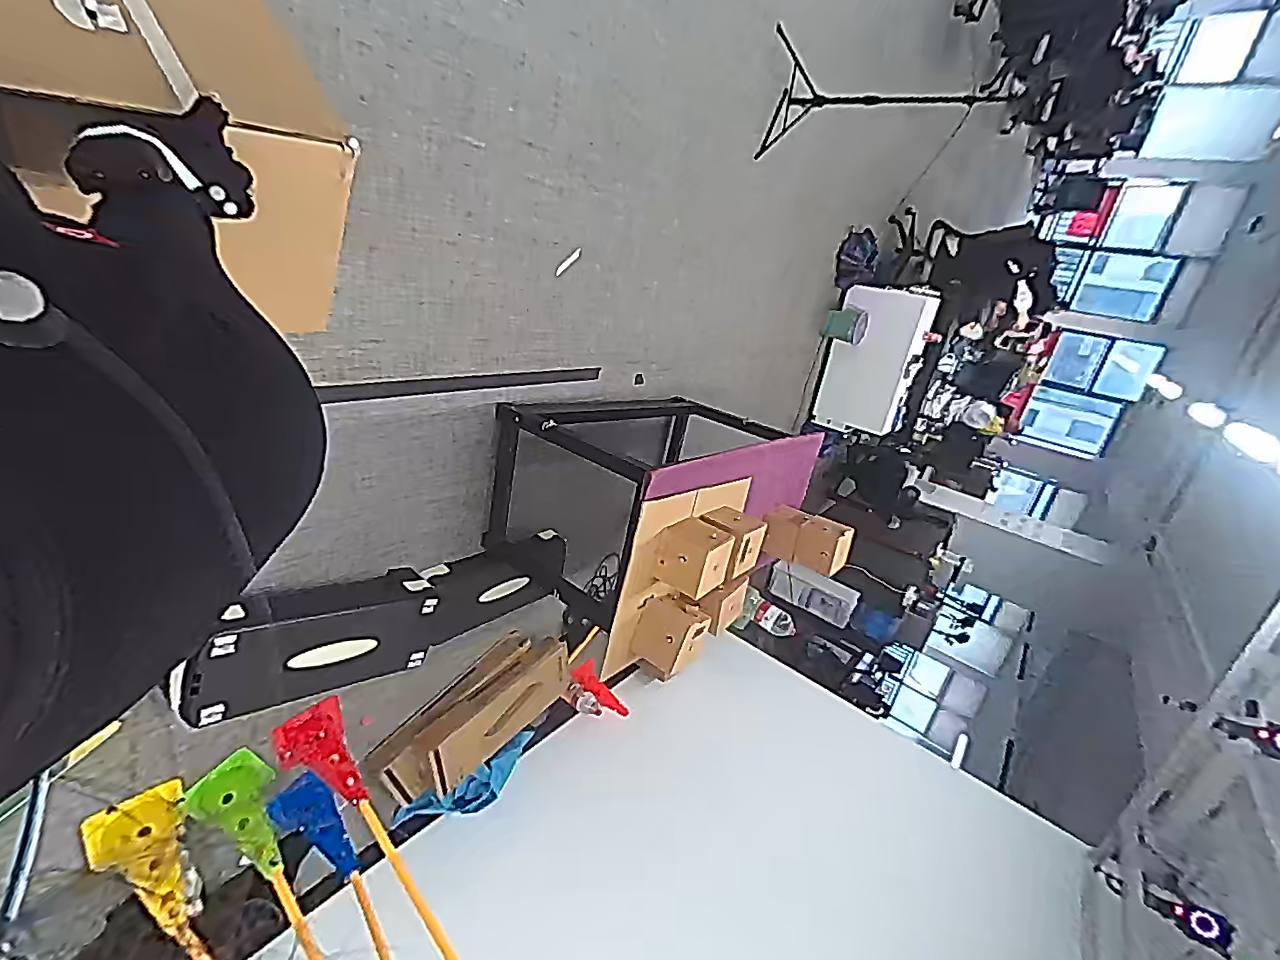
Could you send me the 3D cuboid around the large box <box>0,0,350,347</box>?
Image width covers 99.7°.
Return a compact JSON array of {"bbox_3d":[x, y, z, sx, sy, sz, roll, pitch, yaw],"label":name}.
[{"bbox_3d":[-0.636,-0.432,0.680,0.320,0.408,0.320,-23,165,-45],"label":"large box"}]
